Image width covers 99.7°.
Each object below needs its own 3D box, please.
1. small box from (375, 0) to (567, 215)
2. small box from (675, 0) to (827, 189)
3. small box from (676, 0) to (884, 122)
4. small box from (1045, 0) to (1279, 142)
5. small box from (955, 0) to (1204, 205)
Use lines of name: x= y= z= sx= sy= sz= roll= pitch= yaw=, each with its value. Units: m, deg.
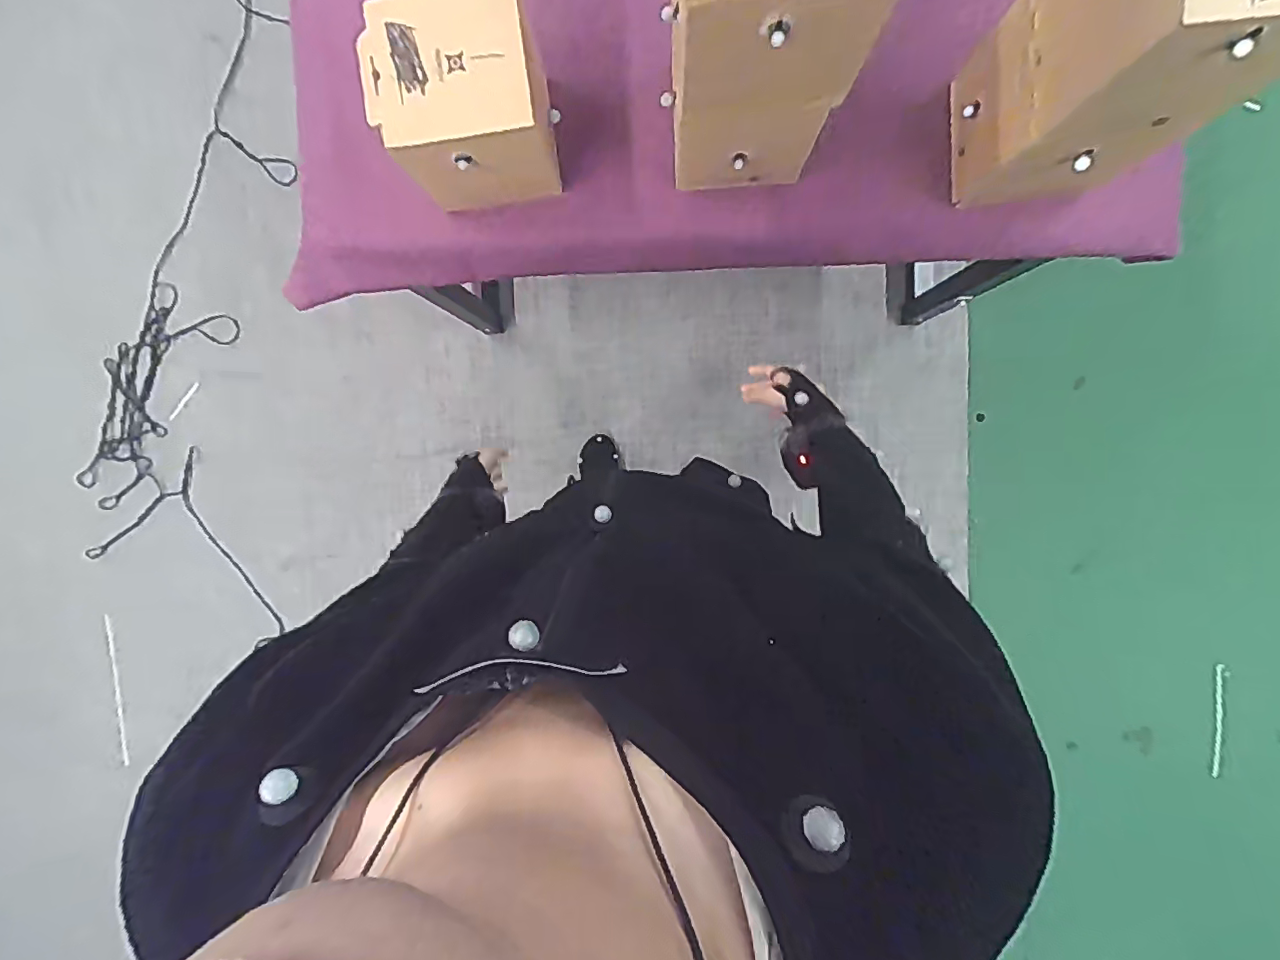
small box: x=-0.204 y=-0.465 z=0.695 sx=0.179 sy=0.176 sz=0.168 roll=-7 pitch=93 yaw=4
small box: x=0.128 y=-0.482 z=0.668 sx=0.168 sy=0.176 sz=0.179 roll=-2 pitch=92 yaw=4
small box: x=0.121 y=-0.468 z=0.506 sx=0.179 sy=0.176 sz=0.168 roll=-2 pitch=94 yaw=4
small box: x=0.495 y=-0.440 z=0.478 sx=0.168 sy=0.176 sz=0.179 roll=-2 pitch=93 yaw=7
small box: x=0.506 y=-0.449 z=0.642 sx=0.179 sy=0.176 sz=0.168 roll=-3 pitch=94 yaw=6
